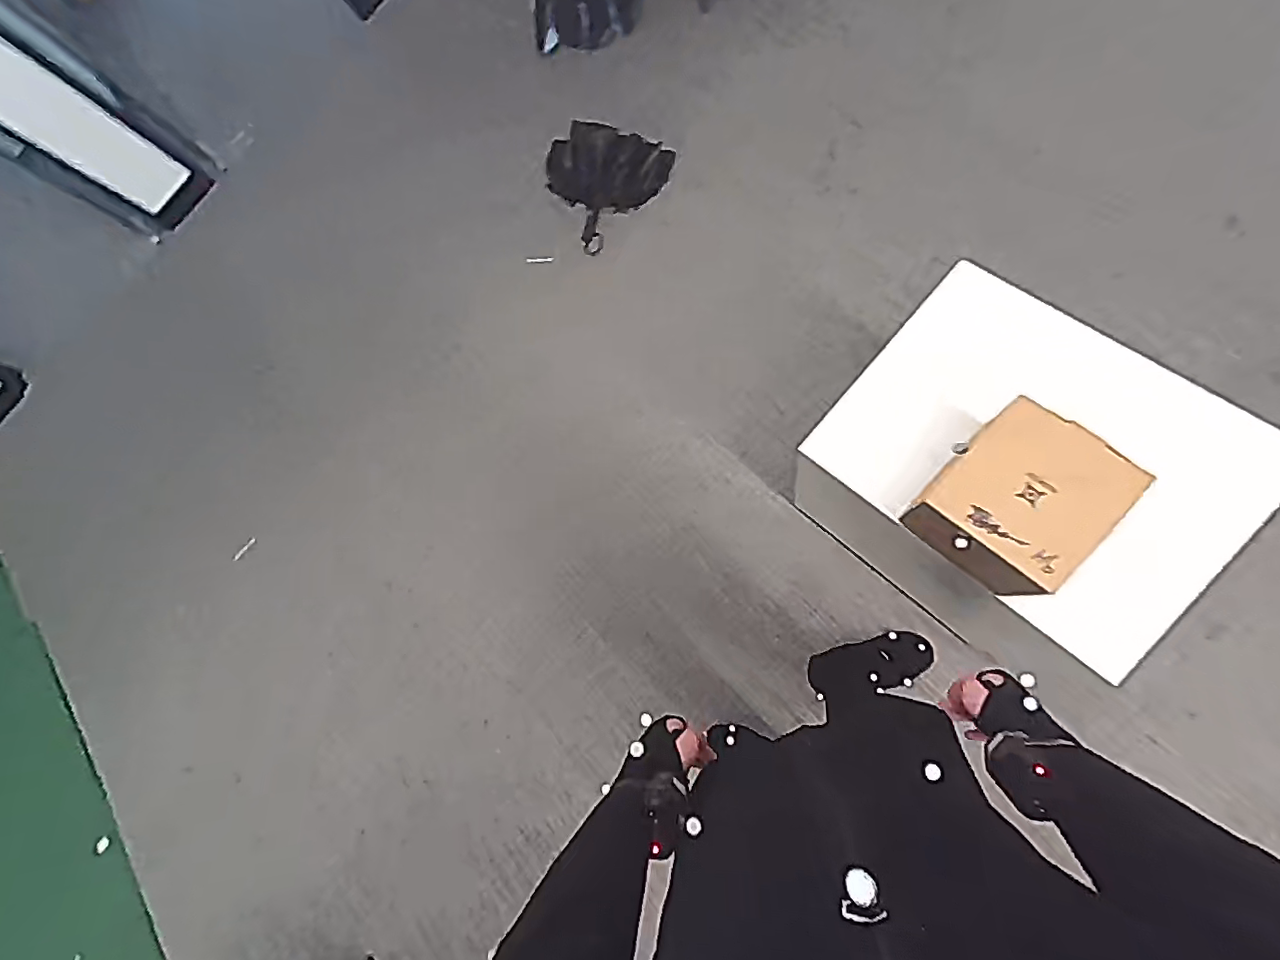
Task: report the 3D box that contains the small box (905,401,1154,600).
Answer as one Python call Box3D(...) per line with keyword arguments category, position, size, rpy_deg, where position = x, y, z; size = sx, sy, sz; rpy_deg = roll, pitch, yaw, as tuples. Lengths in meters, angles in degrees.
Box3D(category="small box", position=(0.475, 0.035, 0.698), size=(0.168, 0.176, 0.179), rpy_deg=(43, 90, 20))
